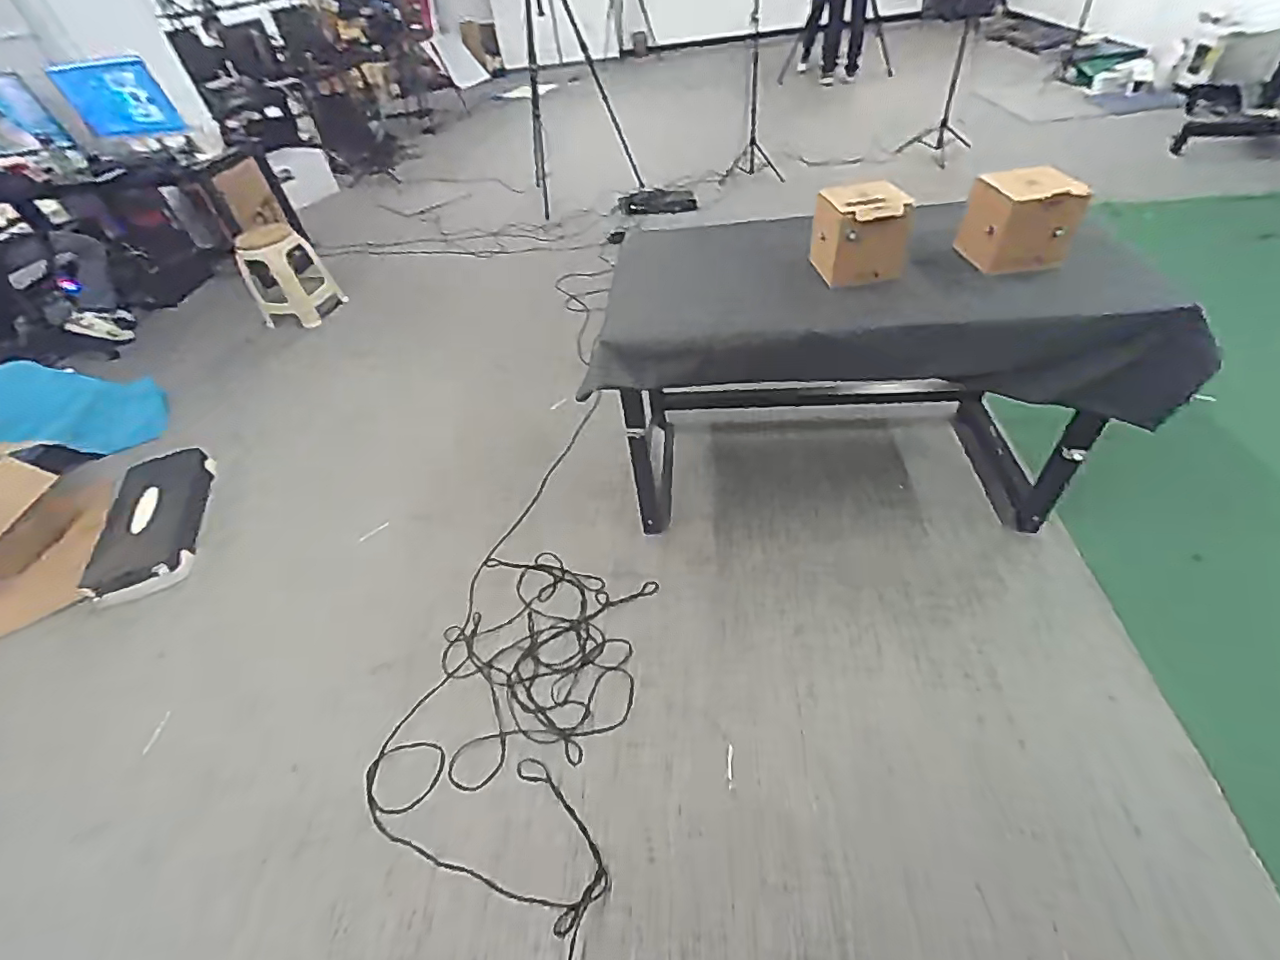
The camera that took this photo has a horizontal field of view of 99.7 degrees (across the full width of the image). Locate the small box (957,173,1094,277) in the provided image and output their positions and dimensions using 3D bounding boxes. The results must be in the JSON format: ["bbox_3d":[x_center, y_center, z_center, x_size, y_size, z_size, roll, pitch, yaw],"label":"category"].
[{"bbox_3d":[0.862,-0.575,1.232,0.168,0.176,0.179,-5,43,2],"label":"small box"}]
